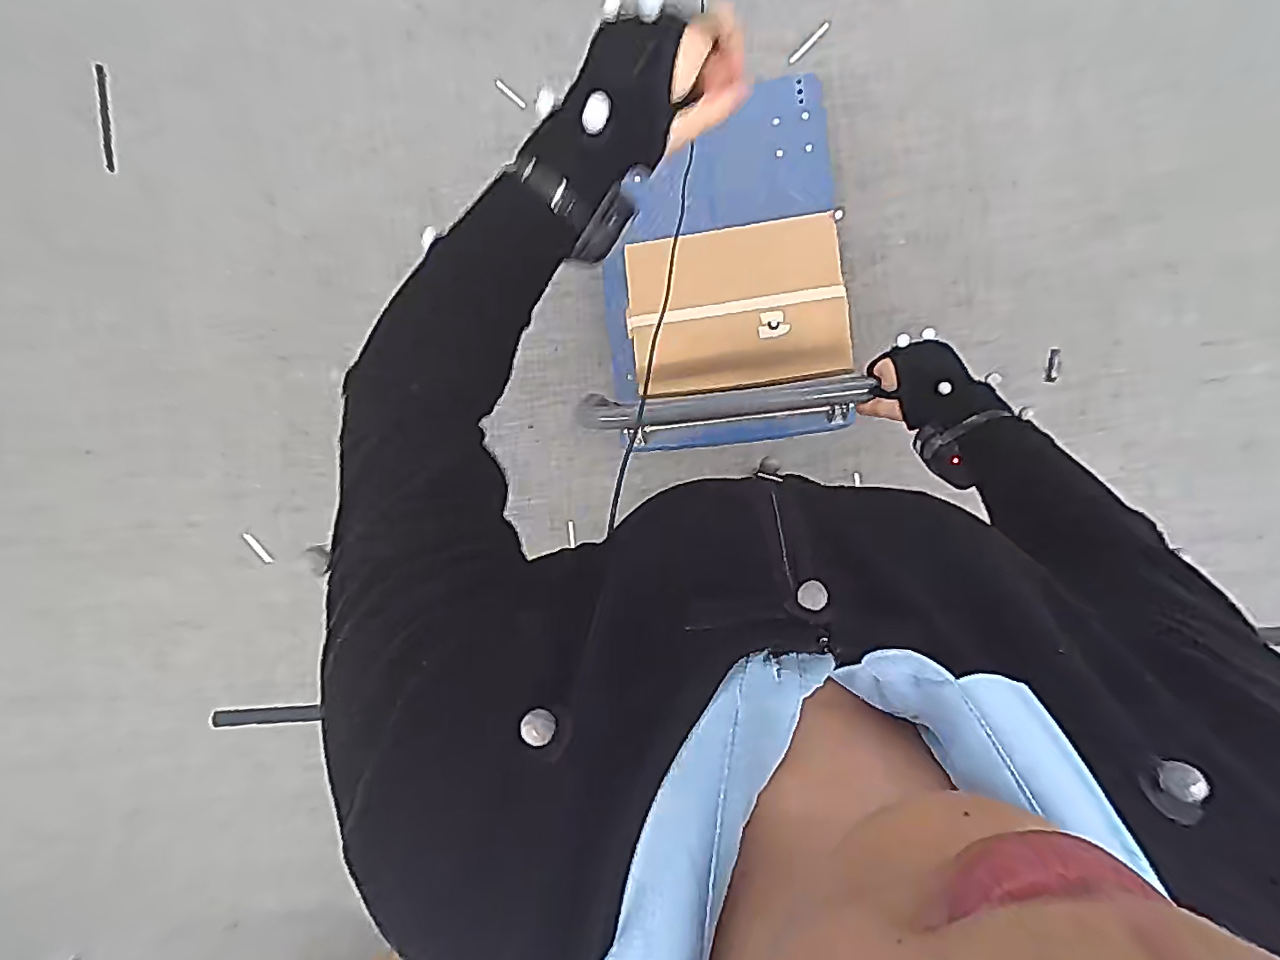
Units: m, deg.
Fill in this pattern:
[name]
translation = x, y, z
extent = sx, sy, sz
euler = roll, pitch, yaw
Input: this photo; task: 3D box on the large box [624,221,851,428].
[large box]
translation = 0.196, -0.306, 1.177
extent = 0.408, 0.320, 0.320
euler = -6, 88, 7
